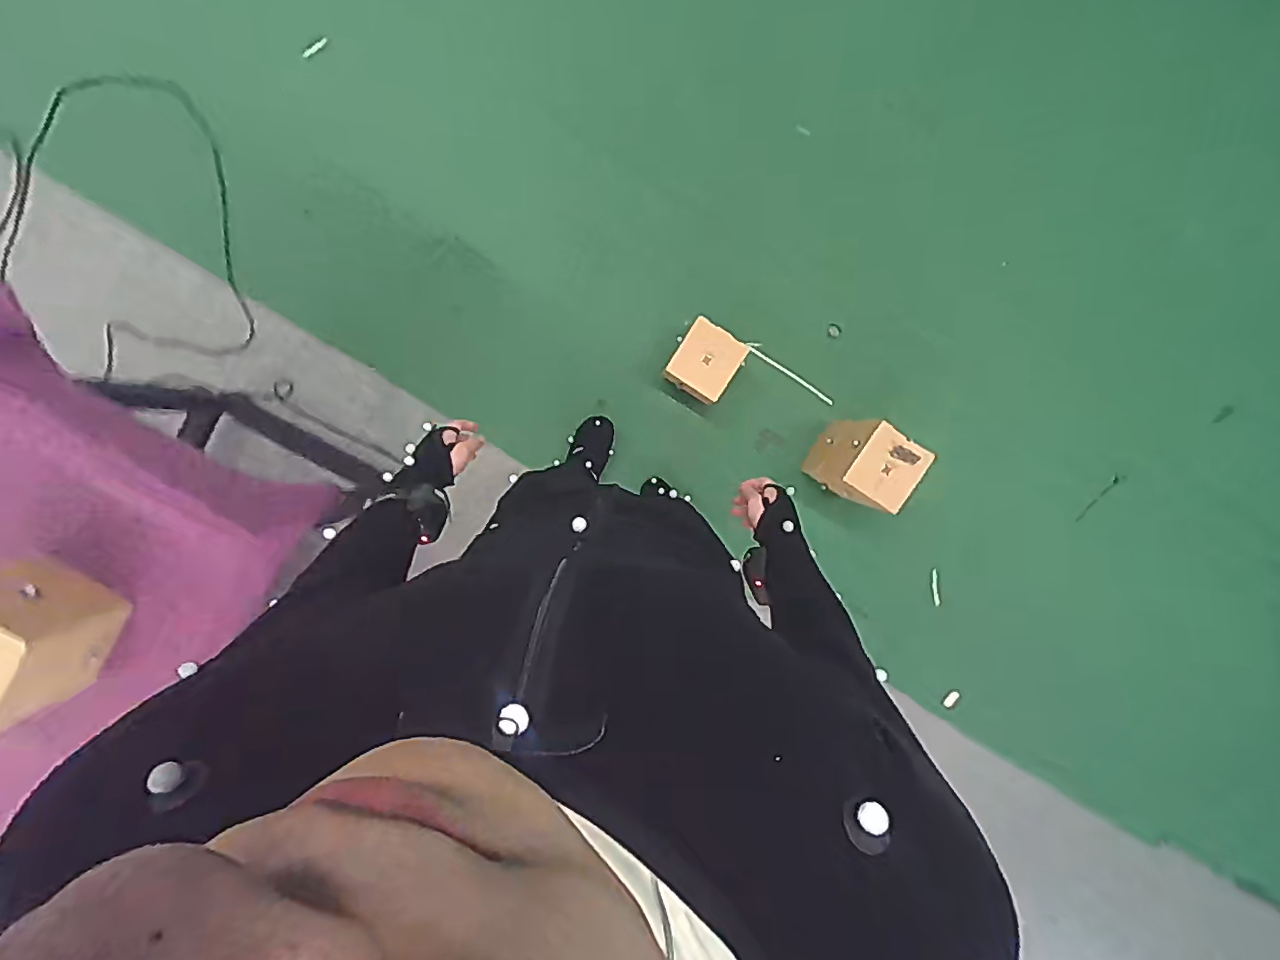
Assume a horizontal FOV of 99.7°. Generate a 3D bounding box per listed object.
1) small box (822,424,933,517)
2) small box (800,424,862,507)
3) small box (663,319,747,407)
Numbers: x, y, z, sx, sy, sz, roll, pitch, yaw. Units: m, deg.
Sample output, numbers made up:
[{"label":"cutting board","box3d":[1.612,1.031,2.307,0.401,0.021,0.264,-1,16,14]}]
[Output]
[{"label":"small box","box3d":[0.603,-0.030,1.401,0.168,0.176,0.179,33,94,-5]},{"label":"small box","box3d":[0.594,-0.047,1.565,0.168,0.176,0.179,34,93,-5]},{"label":"small box","box3d":[0.175,-0.321,1.525,0.168,0.176,0.179,32,92,-4]}]
